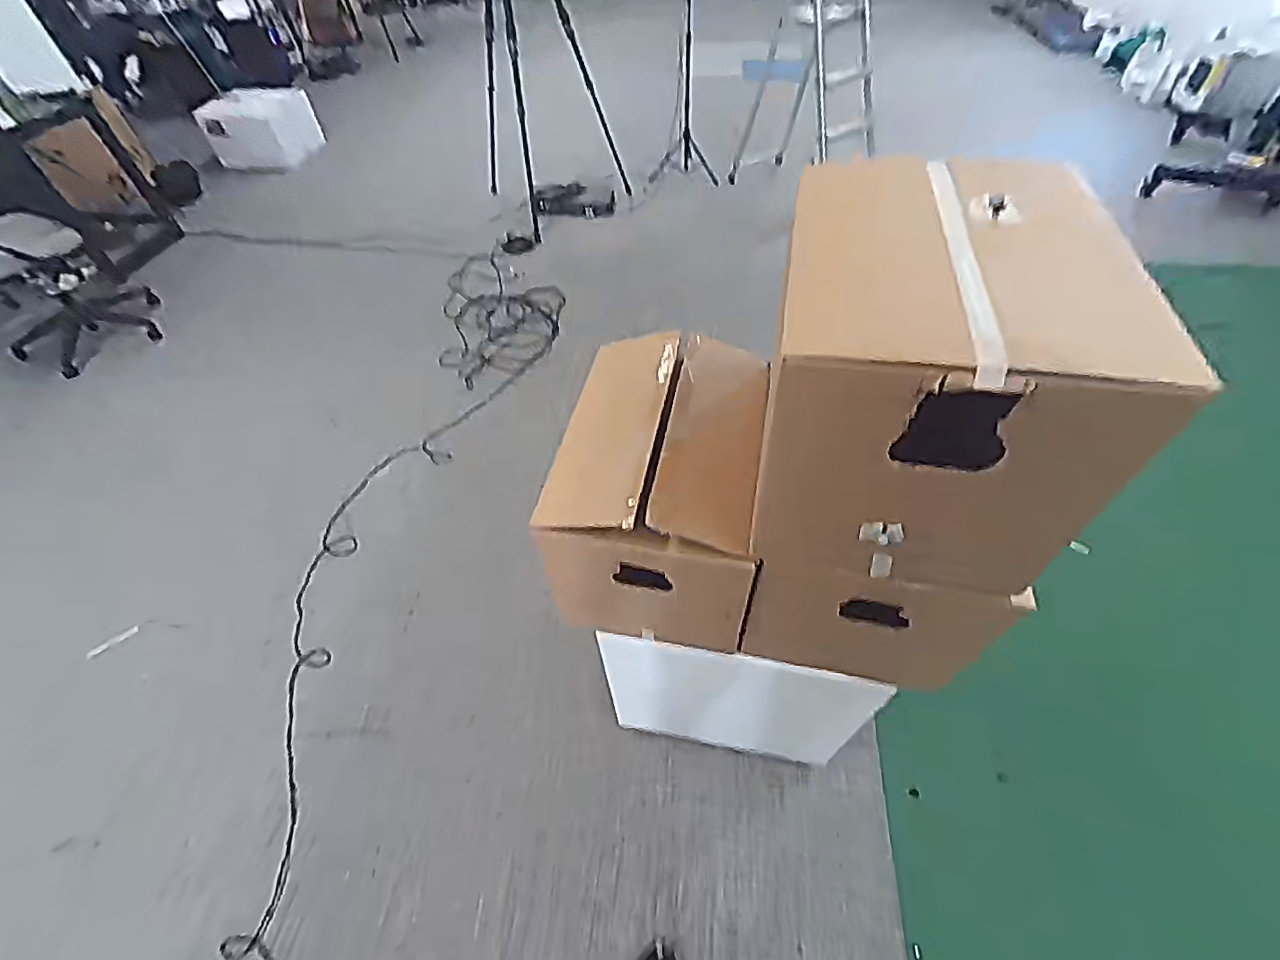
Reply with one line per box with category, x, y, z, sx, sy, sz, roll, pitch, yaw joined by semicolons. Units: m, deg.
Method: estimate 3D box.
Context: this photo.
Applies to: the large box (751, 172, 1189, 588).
large box;0.310;-0.129;0.659;0.320;0.320;0.408;7;50;12
